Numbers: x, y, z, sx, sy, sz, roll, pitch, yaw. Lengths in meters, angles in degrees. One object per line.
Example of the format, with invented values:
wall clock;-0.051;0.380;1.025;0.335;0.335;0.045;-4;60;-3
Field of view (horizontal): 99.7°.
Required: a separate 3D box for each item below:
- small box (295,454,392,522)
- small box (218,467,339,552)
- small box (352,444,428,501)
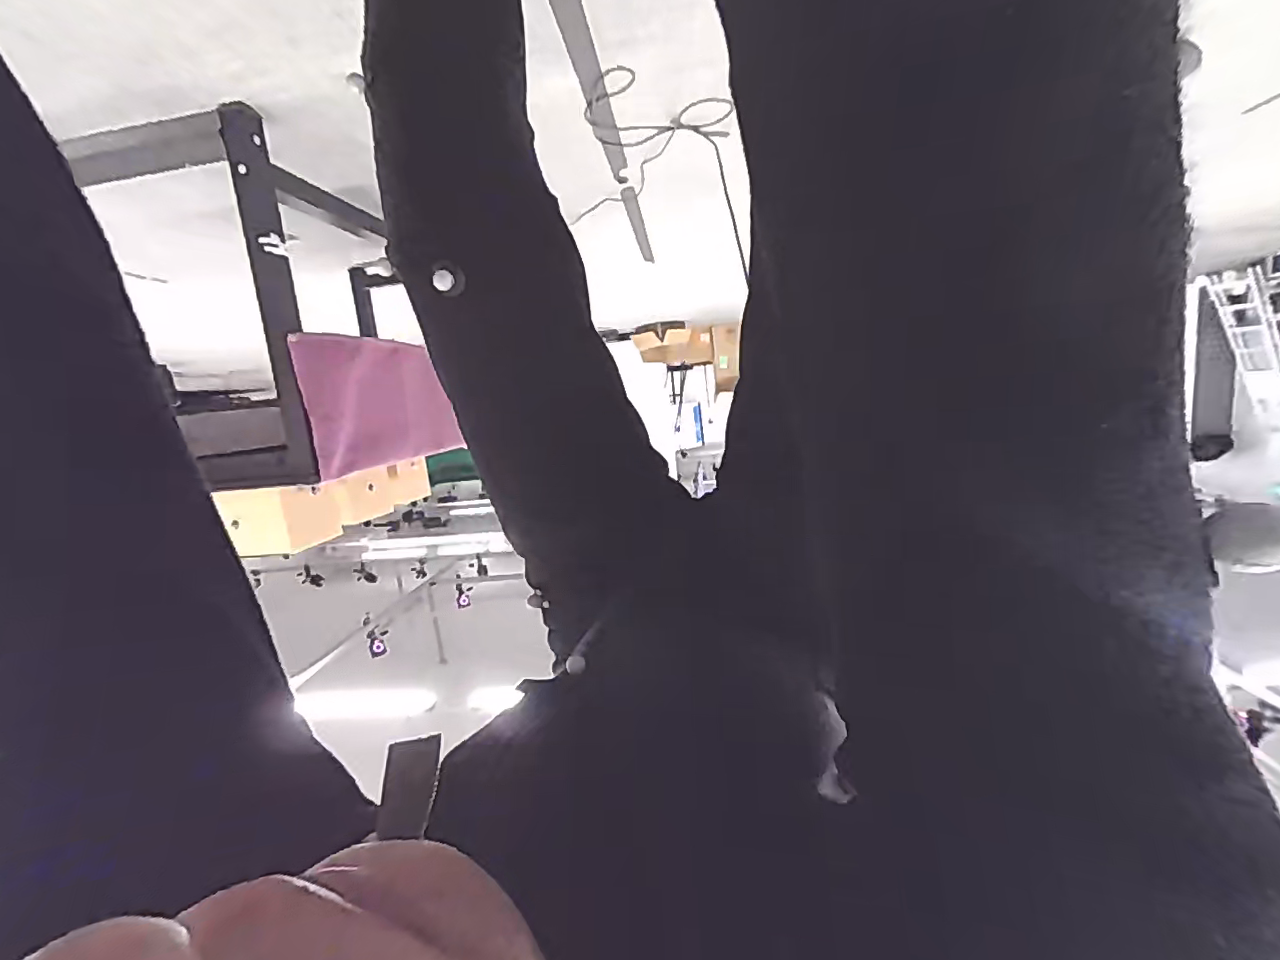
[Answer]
small box;-0.859;0.019;1.565;0.179;0.176;0.168;-3;-170;16
small box;-0.865;0.065;1.296;0.179;0.176;0.168;-4;-169;10
small box;-0.844;-0.026;1.815;0.179;0.176;0.168;-5;-170;11
